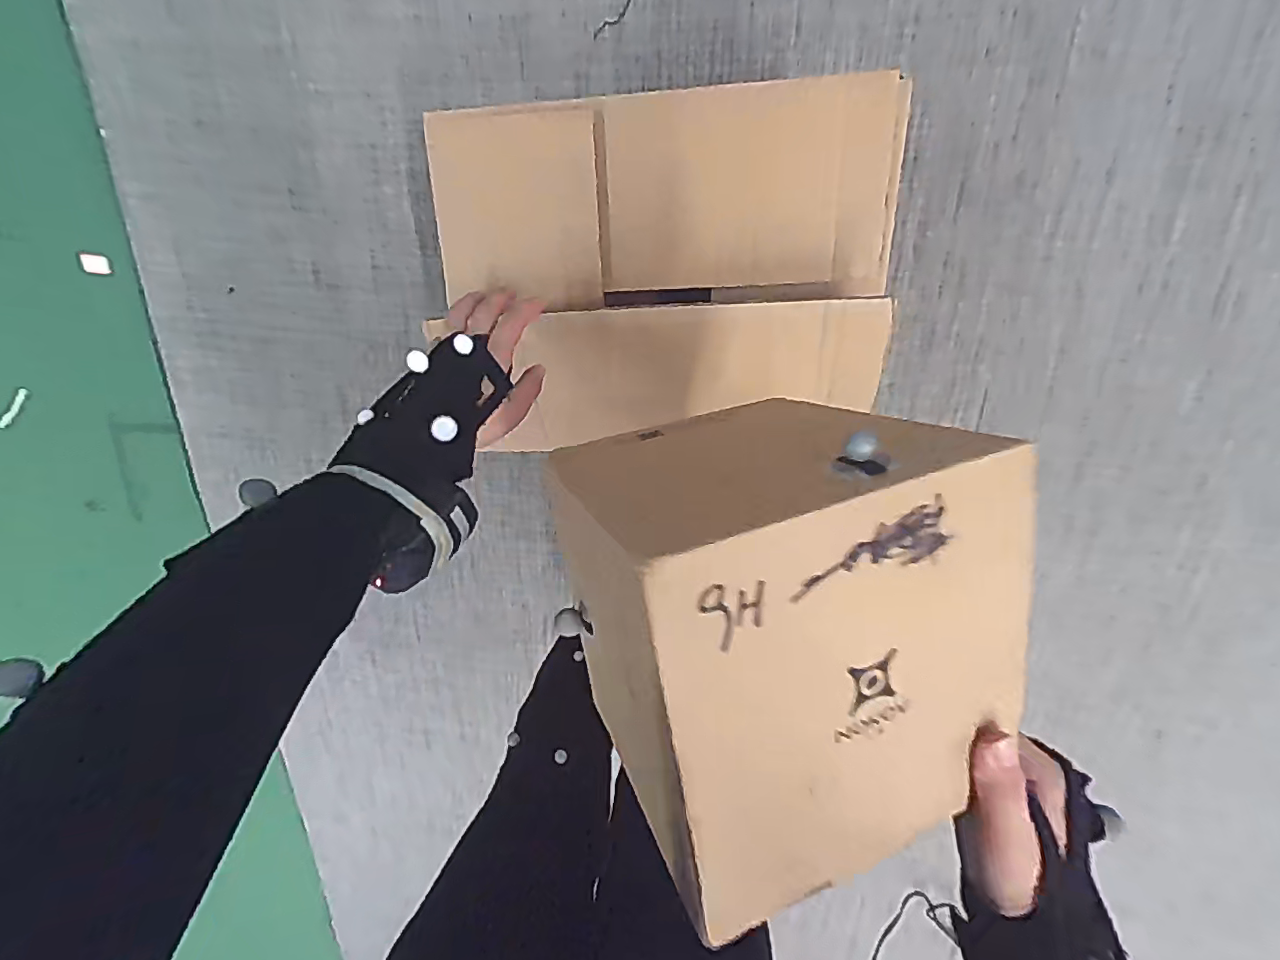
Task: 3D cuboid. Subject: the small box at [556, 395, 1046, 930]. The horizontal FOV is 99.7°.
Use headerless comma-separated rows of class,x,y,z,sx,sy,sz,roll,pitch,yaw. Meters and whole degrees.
small box,0.063,0.063,0.285,0.168,0.176,0.179,-15,110,-17
